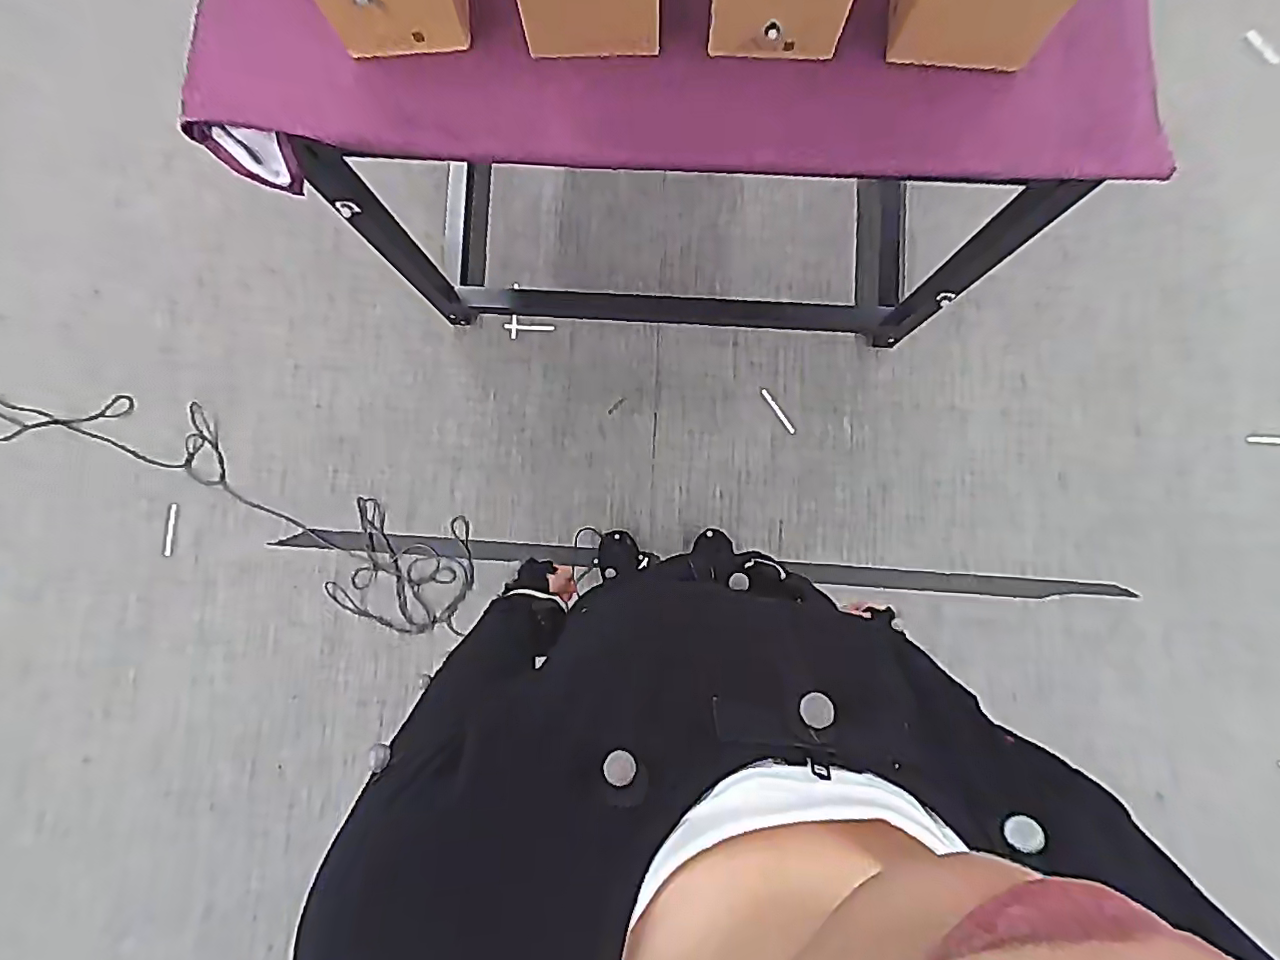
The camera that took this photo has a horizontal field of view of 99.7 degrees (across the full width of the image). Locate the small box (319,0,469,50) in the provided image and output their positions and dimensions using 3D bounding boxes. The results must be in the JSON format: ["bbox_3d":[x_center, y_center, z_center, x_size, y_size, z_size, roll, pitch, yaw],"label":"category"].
[{"bbox_3d":[-0.319,-0.673,0.666,0.168,0.176,0.179,-4,84,1],"label":"small box"}]

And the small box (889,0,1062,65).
[{"bbox_3d":[0.417,-0.638,0.640,0.179,0.176,0.168,6,84,1],"label":"small box"}]
